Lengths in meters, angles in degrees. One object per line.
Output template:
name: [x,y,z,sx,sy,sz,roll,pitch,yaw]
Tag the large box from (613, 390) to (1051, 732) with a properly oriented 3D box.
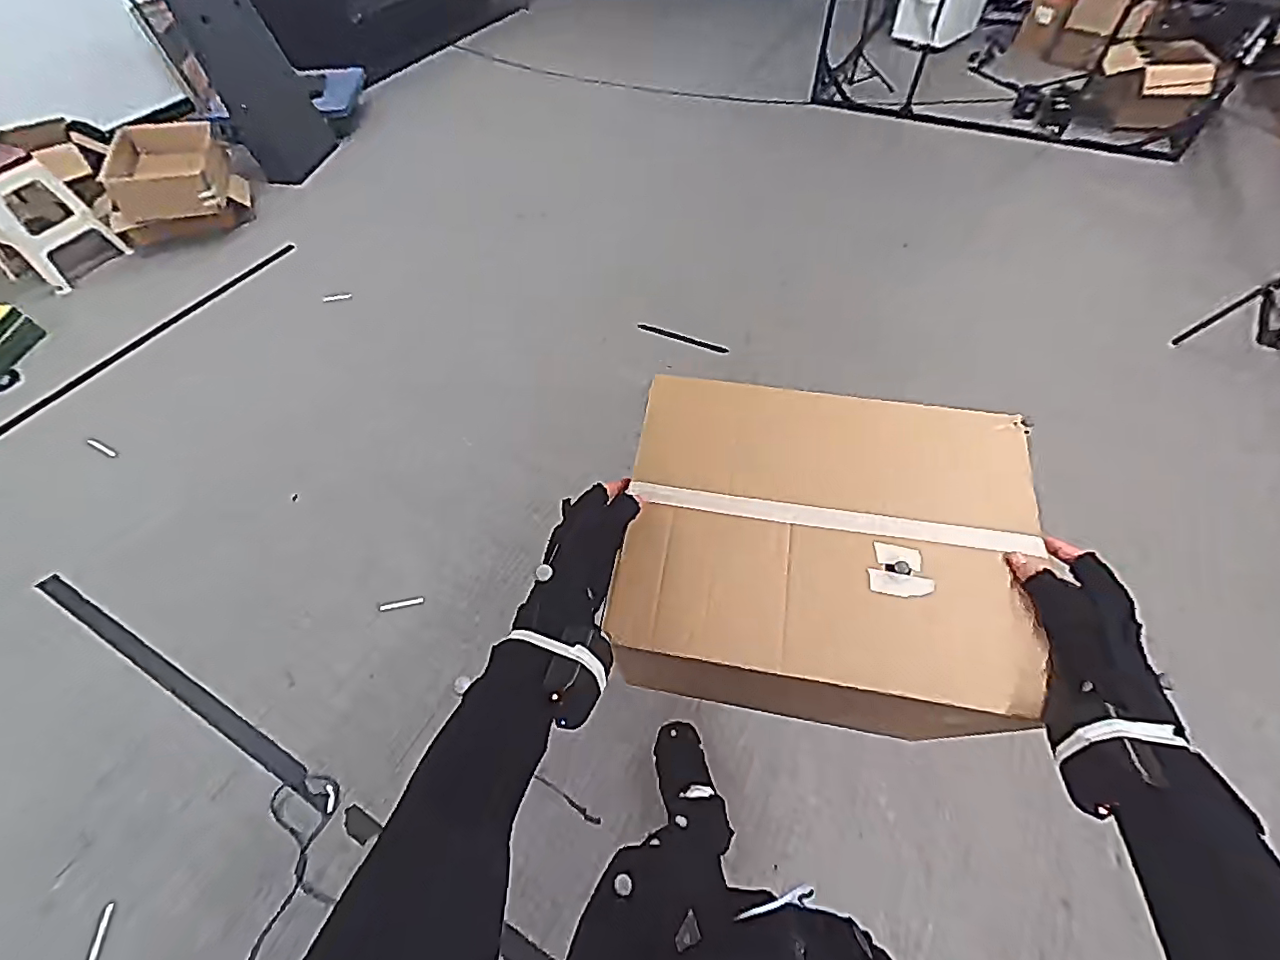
large box: [0.197,0.117,0.693,0.408,0.320,0.320,8,64,7]
